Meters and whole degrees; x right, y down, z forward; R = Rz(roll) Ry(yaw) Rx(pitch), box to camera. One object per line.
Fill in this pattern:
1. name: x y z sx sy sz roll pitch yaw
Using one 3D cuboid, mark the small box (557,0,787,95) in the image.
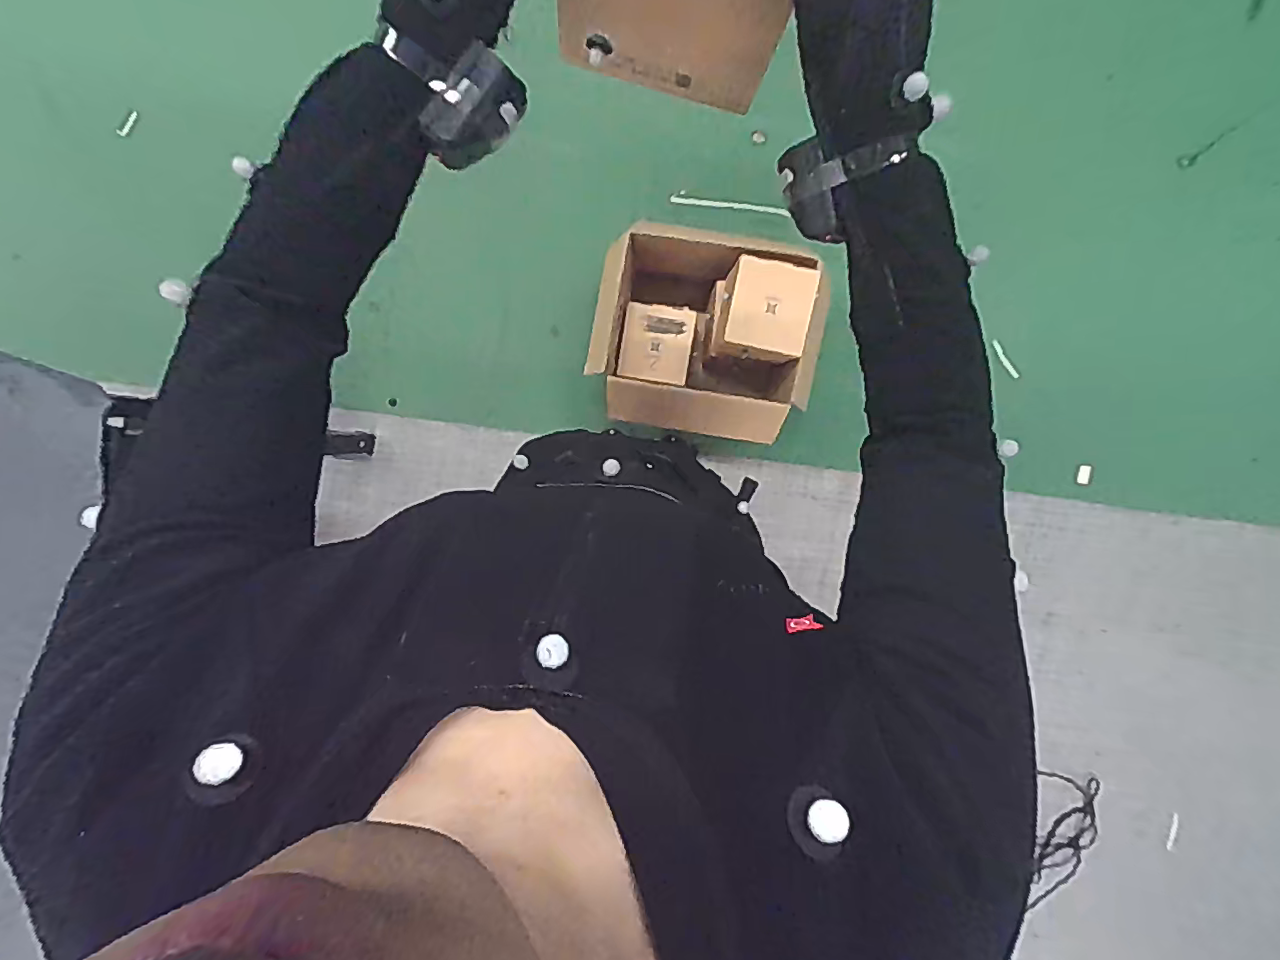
1. small box: 0.036 -0.413 0.366 0.168 0.176 0.179 12 89 -6
